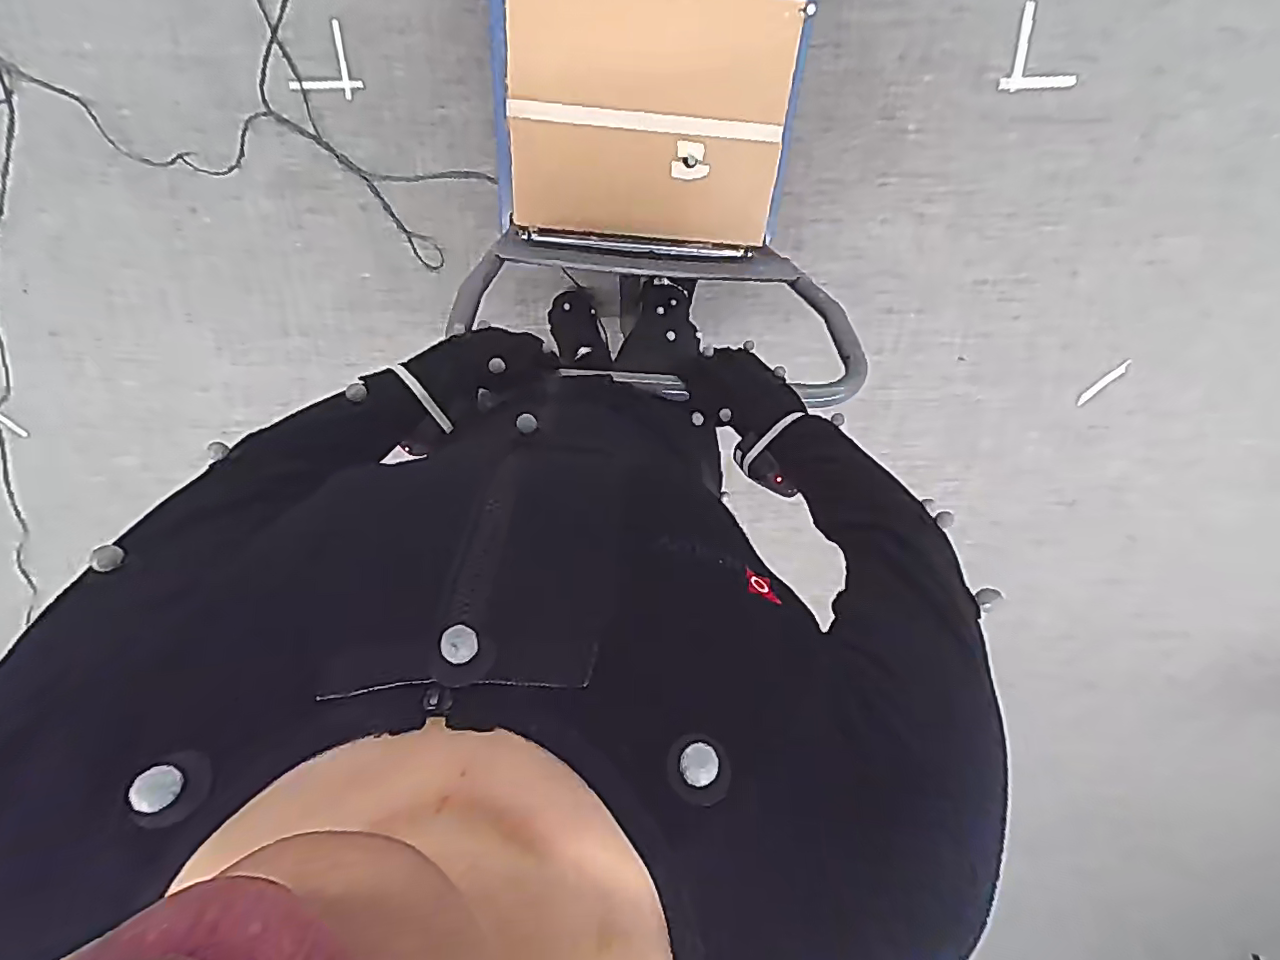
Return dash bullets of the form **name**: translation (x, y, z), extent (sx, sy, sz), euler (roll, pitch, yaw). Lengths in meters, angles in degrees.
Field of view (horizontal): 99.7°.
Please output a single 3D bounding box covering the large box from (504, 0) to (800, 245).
- **large box**: translation (-0.001, -0.595, 0.917), extent (0.408, 0.320, 0.320), euler (2, 122, -6)
